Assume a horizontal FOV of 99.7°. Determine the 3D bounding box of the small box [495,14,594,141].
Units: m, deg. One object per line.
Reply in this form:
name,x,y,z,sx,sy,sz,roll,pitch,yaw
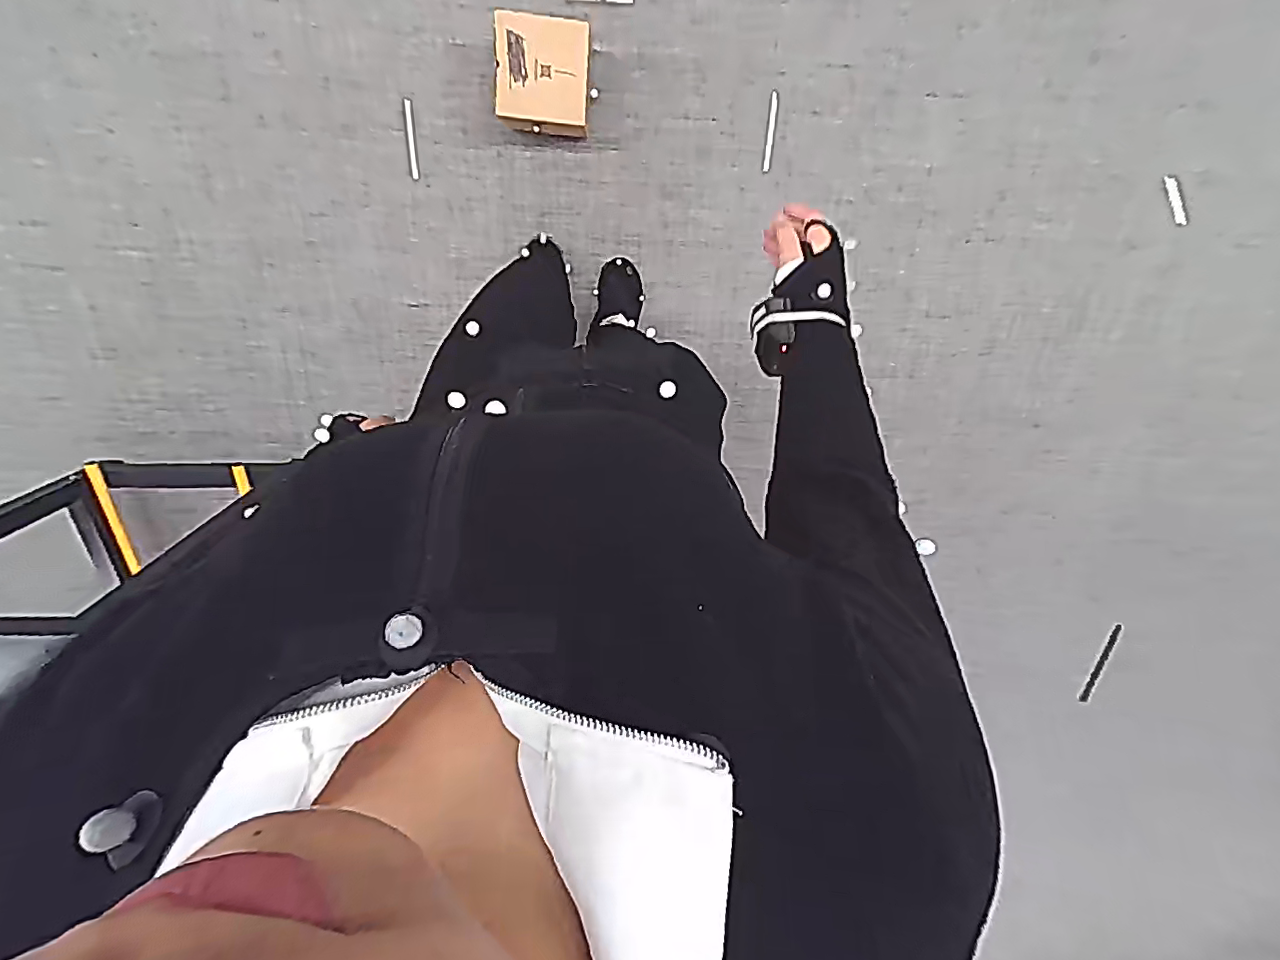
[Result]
small box,-0.189,-0.801,1.094,0.179,0.176,0.168,4,115,-5
